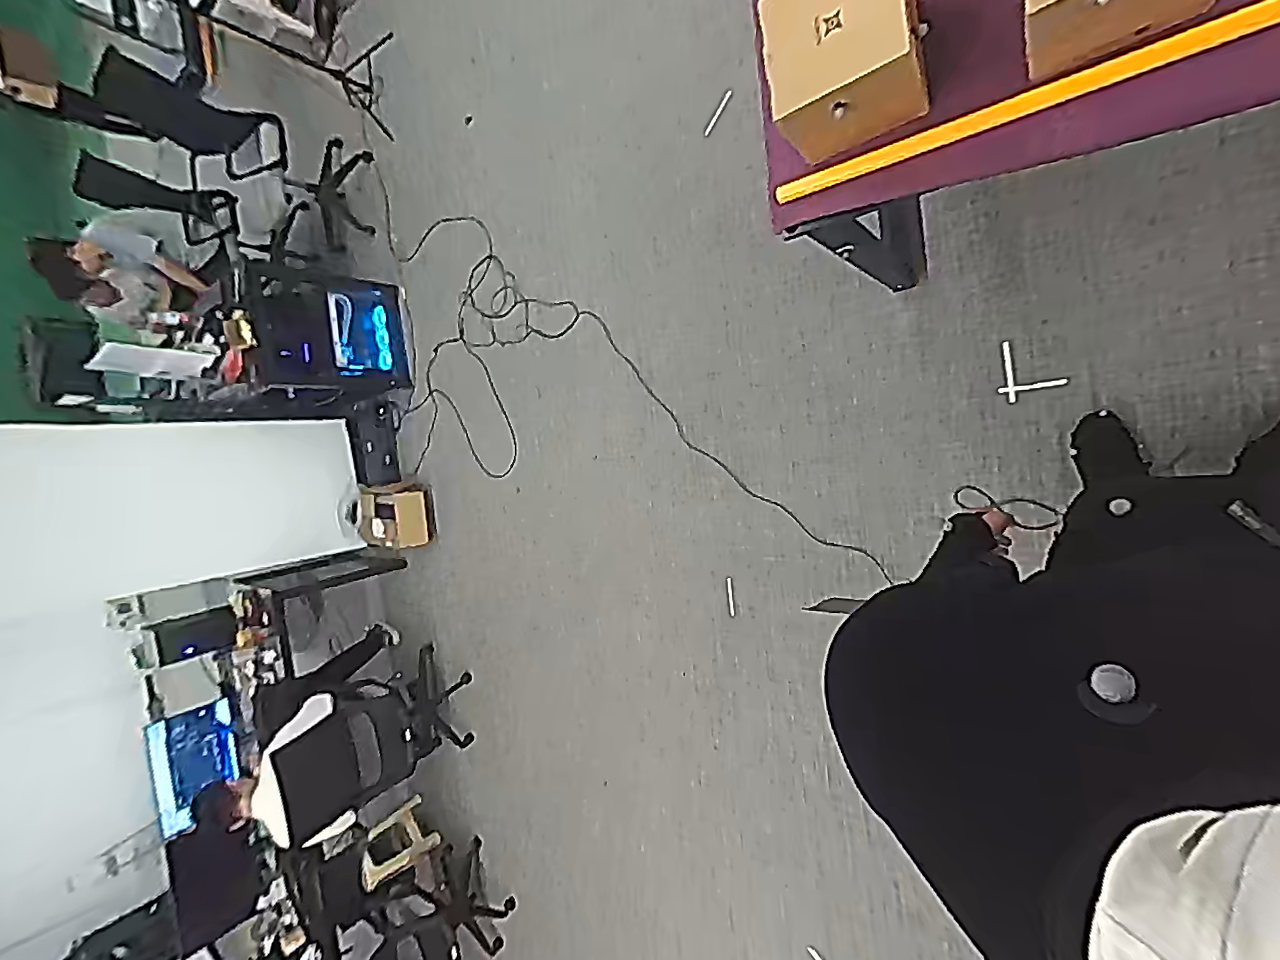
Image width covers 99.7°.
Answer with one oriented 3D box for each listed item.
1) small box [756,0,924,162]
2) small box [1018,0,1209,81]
[{"bbox_3d":[0.284,-0.582,0.751,0.179,0.176,0.168,-6,93,38],"label":"small box"},{"bbox_3d":[0.504,-0.587,0.578,0.168,0.176,0.179,-4,94,39],"label":"small box"}]
